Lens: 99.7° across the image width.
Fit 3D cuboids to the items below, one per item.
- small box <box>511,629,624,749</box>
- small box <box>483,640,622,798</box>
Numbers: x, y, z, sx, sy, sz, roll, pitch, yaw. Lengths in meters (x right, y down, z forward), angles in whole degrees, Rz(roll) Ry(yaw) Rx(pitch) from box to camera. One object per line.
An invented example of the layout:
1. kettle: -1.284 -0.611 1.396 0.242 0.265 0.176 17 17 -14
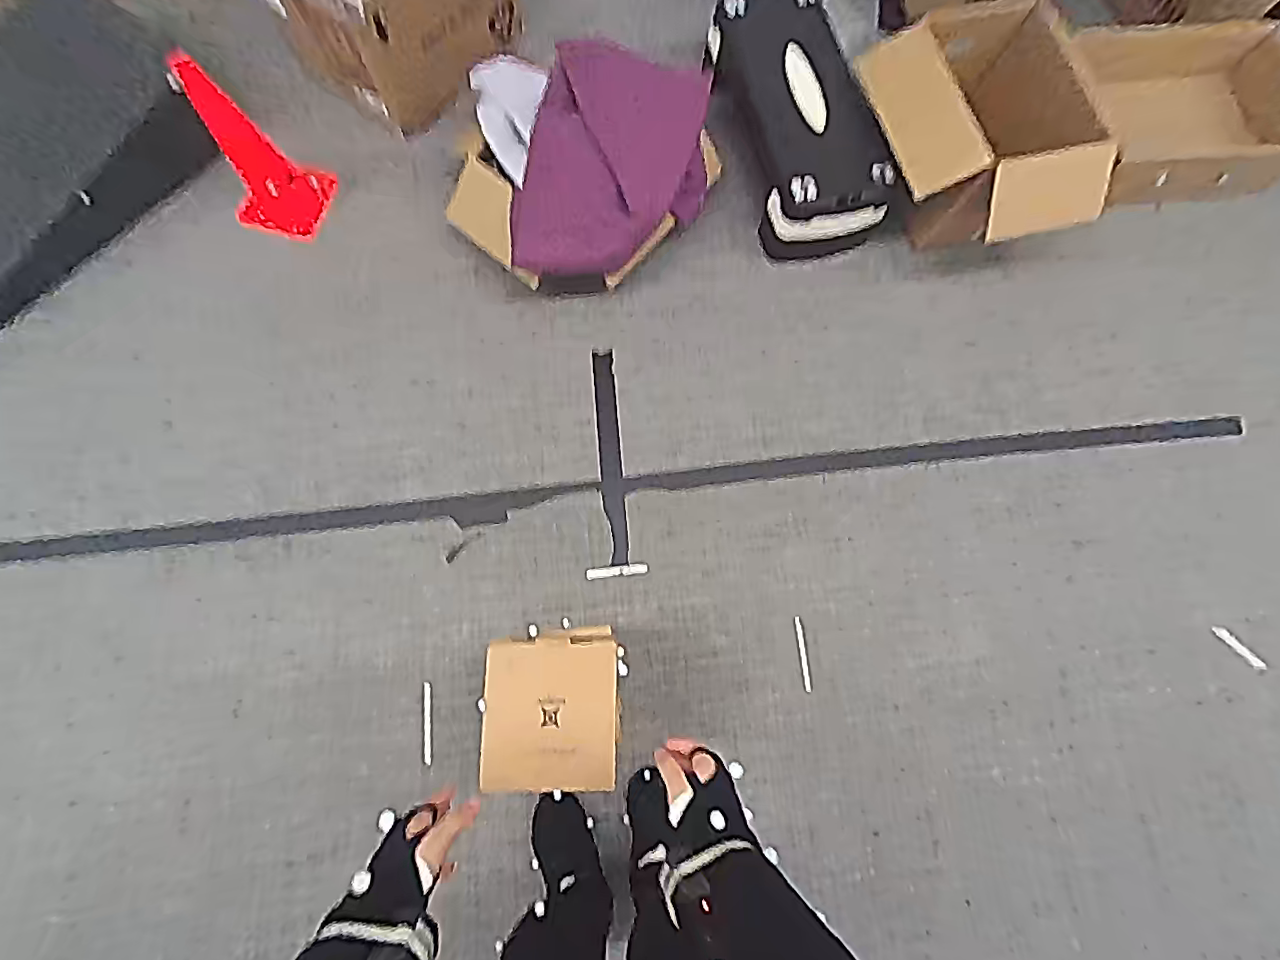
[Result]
1. small box: -0.118 0.345 0.900 0.168 0.176 0.179 -5 76 -4
2. small box: -0.110 0.312 0.741 0.168 0.176 0.179 0 77 -2
